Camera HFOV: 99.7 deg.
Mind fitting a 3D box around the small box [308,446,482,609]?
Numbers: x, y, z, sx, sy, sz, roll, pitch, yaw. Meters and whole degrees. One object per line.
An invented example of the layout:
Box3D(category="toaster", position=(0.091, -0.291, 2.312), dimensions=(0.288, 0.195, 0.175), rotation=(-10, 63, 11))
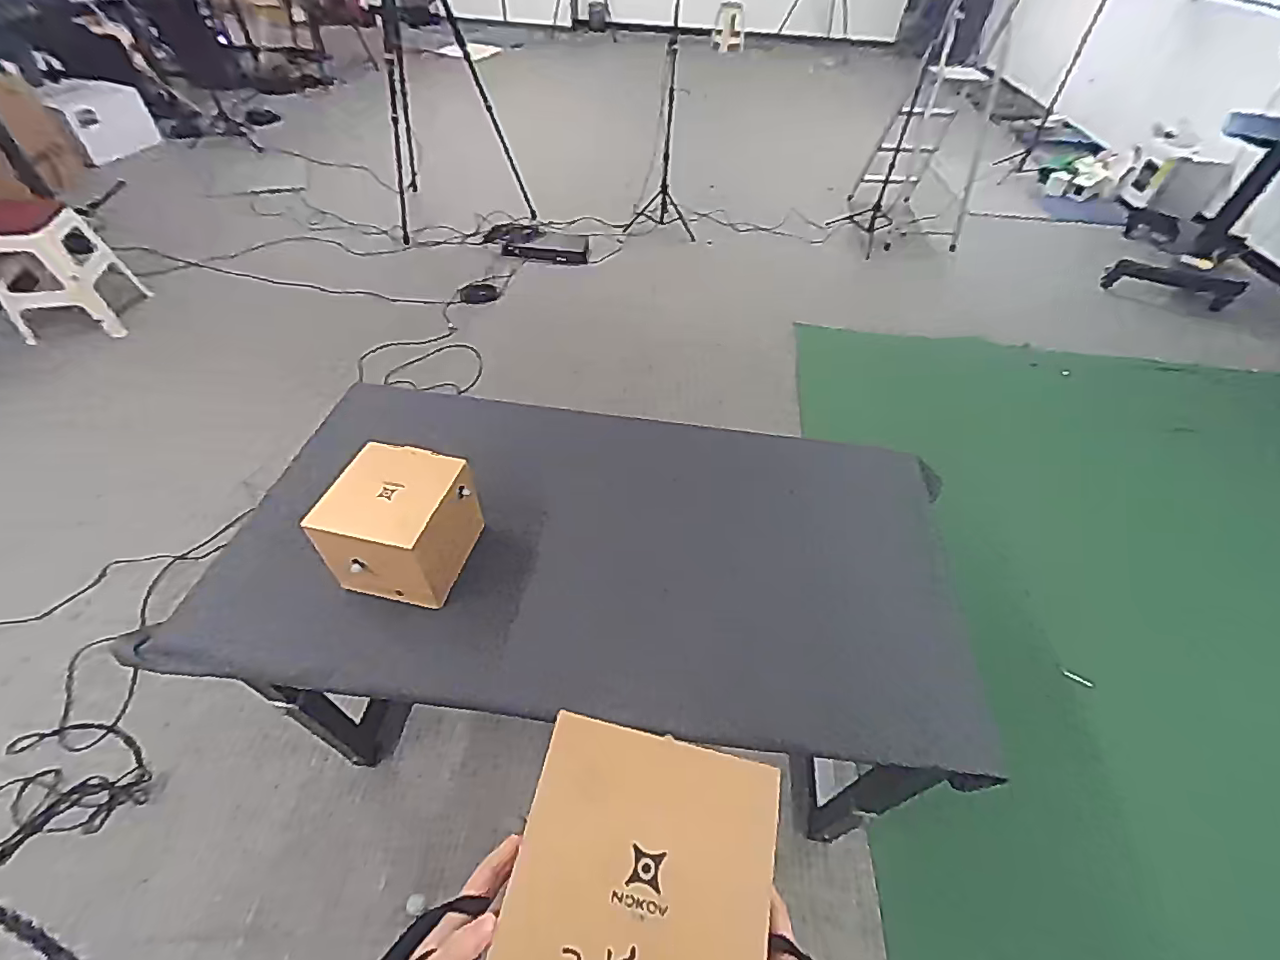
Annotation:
Box3D(category="small box", position=(-0.362, 0.077, 0.843), dimensions=(0.168, 0.176, 0.179), rotation=(11, 47, 6))

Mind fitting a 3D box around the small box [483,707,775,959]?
Box3D(category="small box", position=(-0.006, 0.301, 0.415), dimensions=(0.168, 0.176, 0.179), rotation=(13, 57, 5))
